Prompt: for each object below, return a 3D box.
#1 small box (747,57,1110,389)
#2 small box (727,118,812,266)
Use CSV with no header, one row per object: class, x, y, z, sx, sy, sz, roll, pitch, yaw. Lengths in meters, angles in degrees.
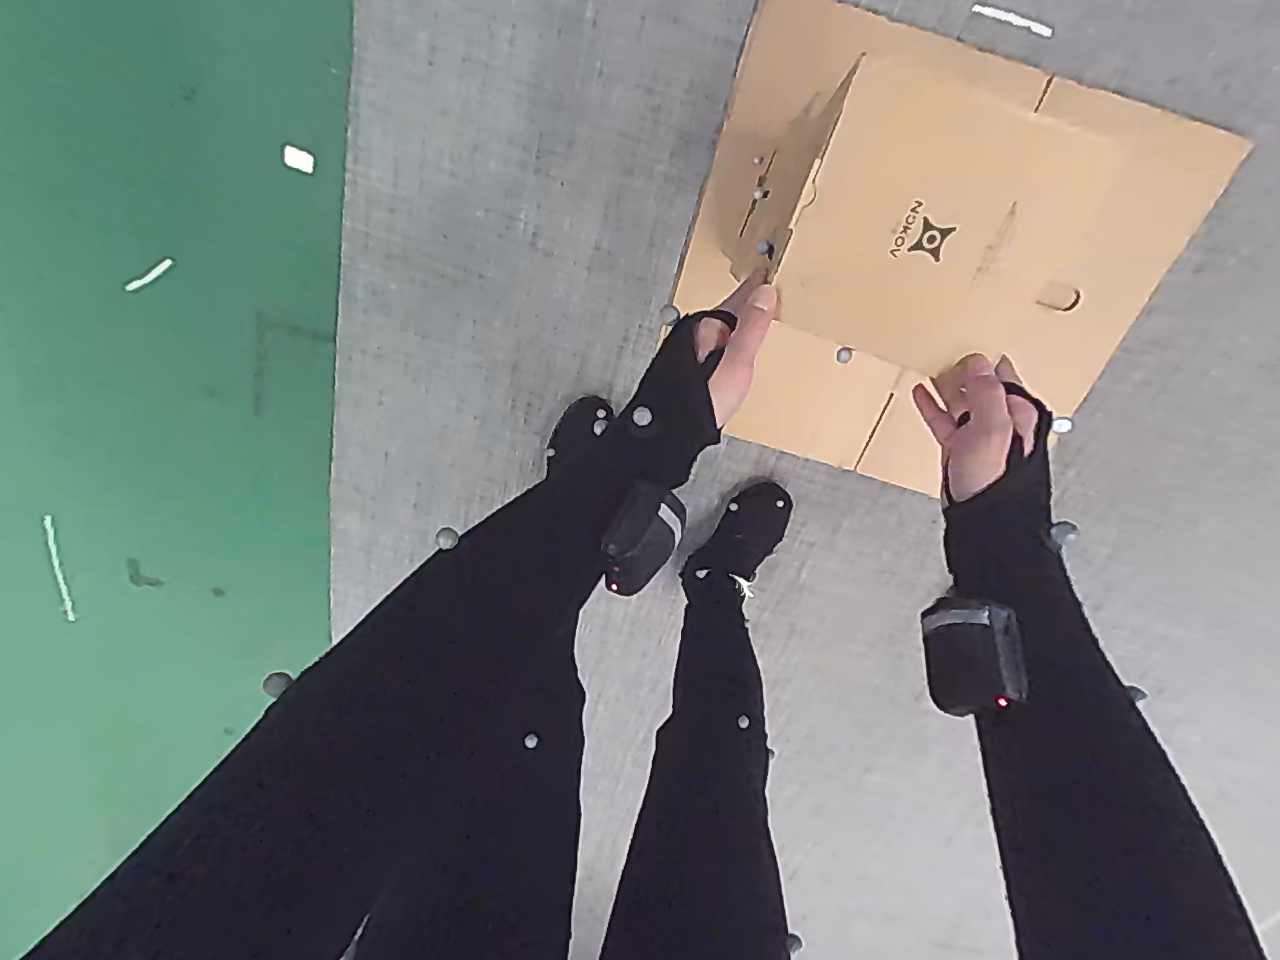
small box,0.197,-0.194,0.439,0.179,0.176,0.168,20,115,0
small box,0.229,-0.360,0.742,0.179,0.176,0.168,20,116,-4
